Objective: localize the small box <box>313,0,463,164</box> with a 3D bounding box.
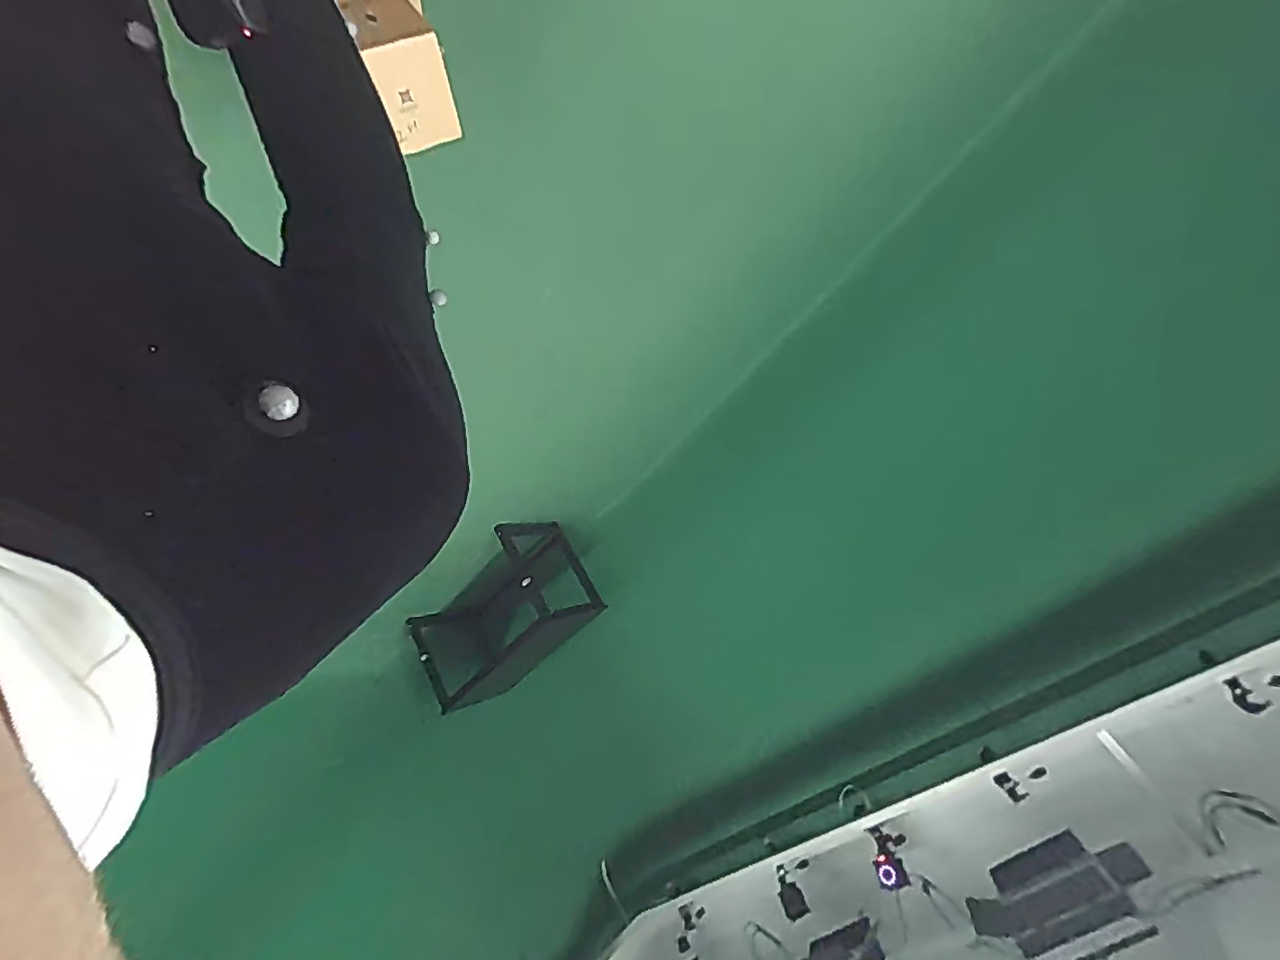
[{"bbox_3d":[-0.450,-0.722,0.975,0.168,0.176,0.179,-28,158,-15],"label":"small box"}]
